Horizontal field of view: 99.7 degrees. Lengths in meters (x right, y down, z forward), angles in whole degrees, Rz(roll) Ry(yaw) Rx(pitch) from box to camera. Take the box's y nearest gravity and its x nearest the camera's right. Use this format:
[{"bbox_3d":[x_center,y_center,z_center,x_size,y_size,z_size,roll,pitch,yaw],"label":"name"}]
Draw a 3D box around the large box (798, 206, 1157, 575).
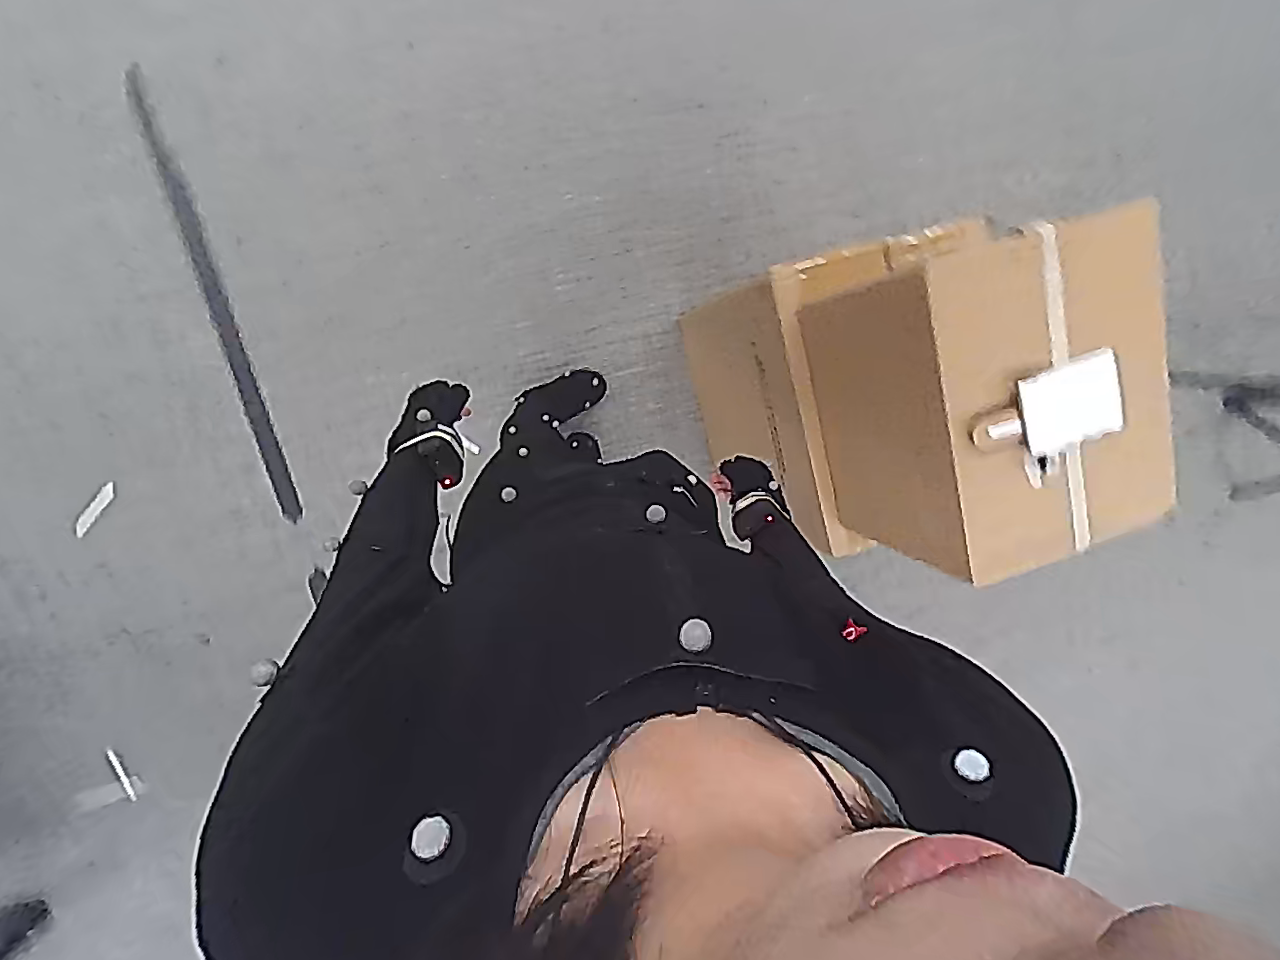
[{"bbox_3d":[0.484,-0.130,0.822,0.320,0.320,0.408,-17,102,-7],"label":"large box"}]
